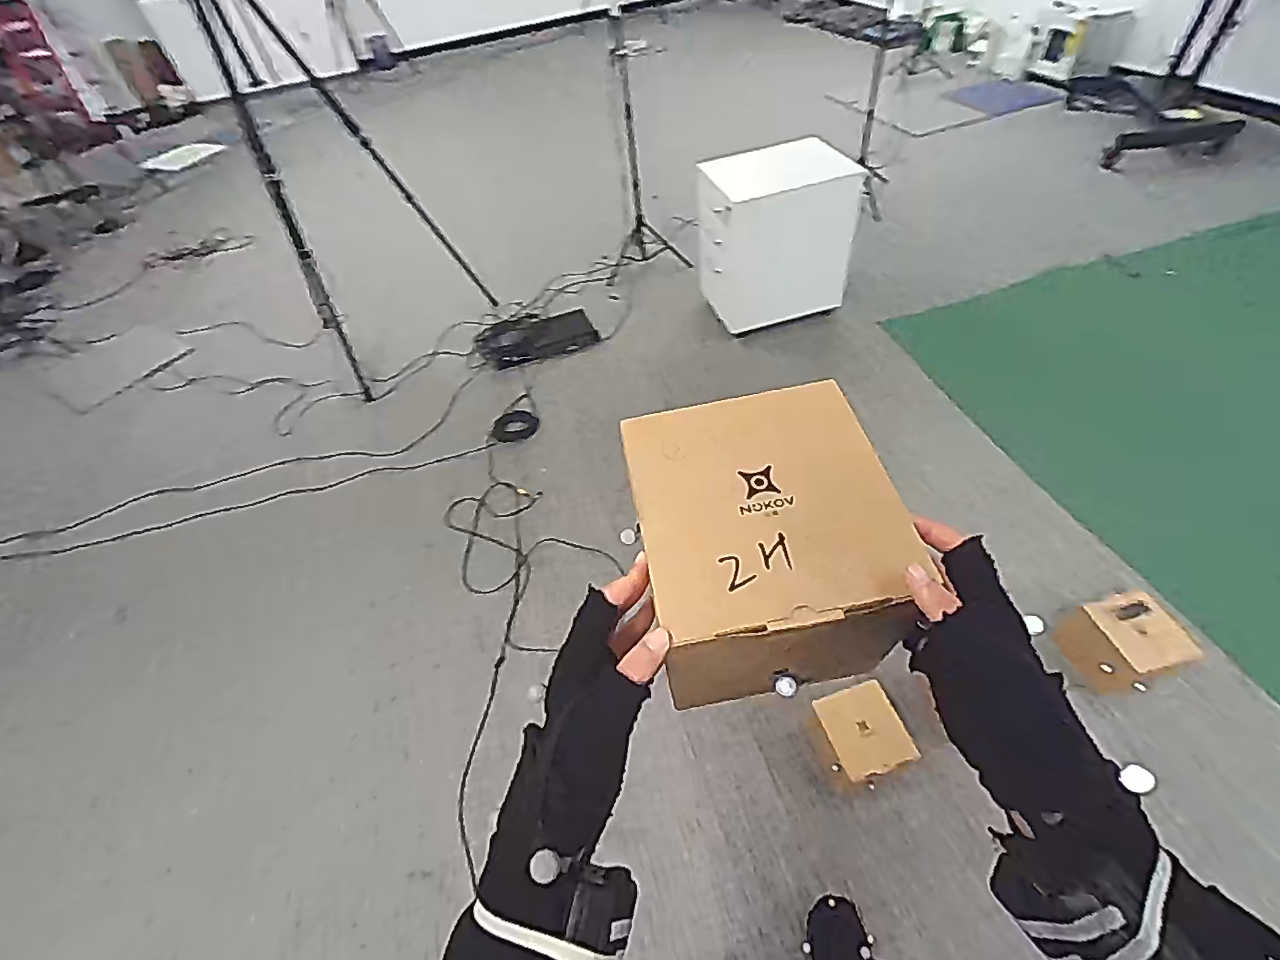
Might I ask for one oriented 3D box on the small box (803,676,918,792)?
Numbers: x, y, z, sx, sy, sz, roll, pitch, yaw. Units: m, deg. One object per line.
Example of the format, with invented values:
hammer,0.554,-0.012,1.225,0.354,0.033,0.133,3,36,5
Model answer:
small box,0.495,0.588,1.247,0.168,0.176,0.179,-18,51,-6
